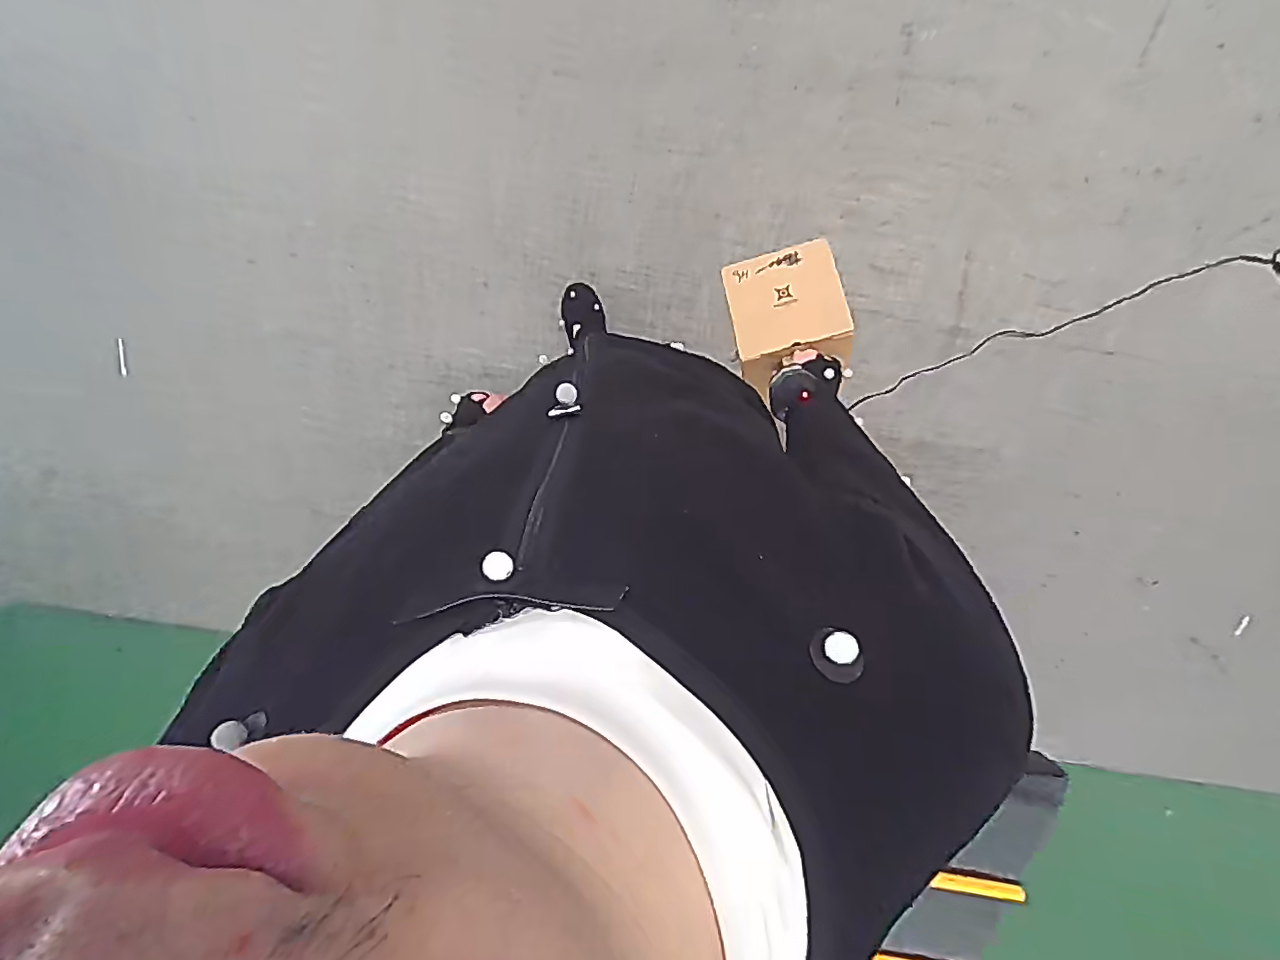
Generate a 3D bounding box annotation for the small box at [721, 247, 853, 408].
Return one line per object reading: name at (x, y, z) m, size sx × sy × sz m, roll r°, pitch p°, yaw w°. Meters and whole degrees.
small box at (0.243, -0.236, 0.890) m, size 0.168 × 0.176 × 0.179 m, roll -14°, pitch 68°, yaw 14°
